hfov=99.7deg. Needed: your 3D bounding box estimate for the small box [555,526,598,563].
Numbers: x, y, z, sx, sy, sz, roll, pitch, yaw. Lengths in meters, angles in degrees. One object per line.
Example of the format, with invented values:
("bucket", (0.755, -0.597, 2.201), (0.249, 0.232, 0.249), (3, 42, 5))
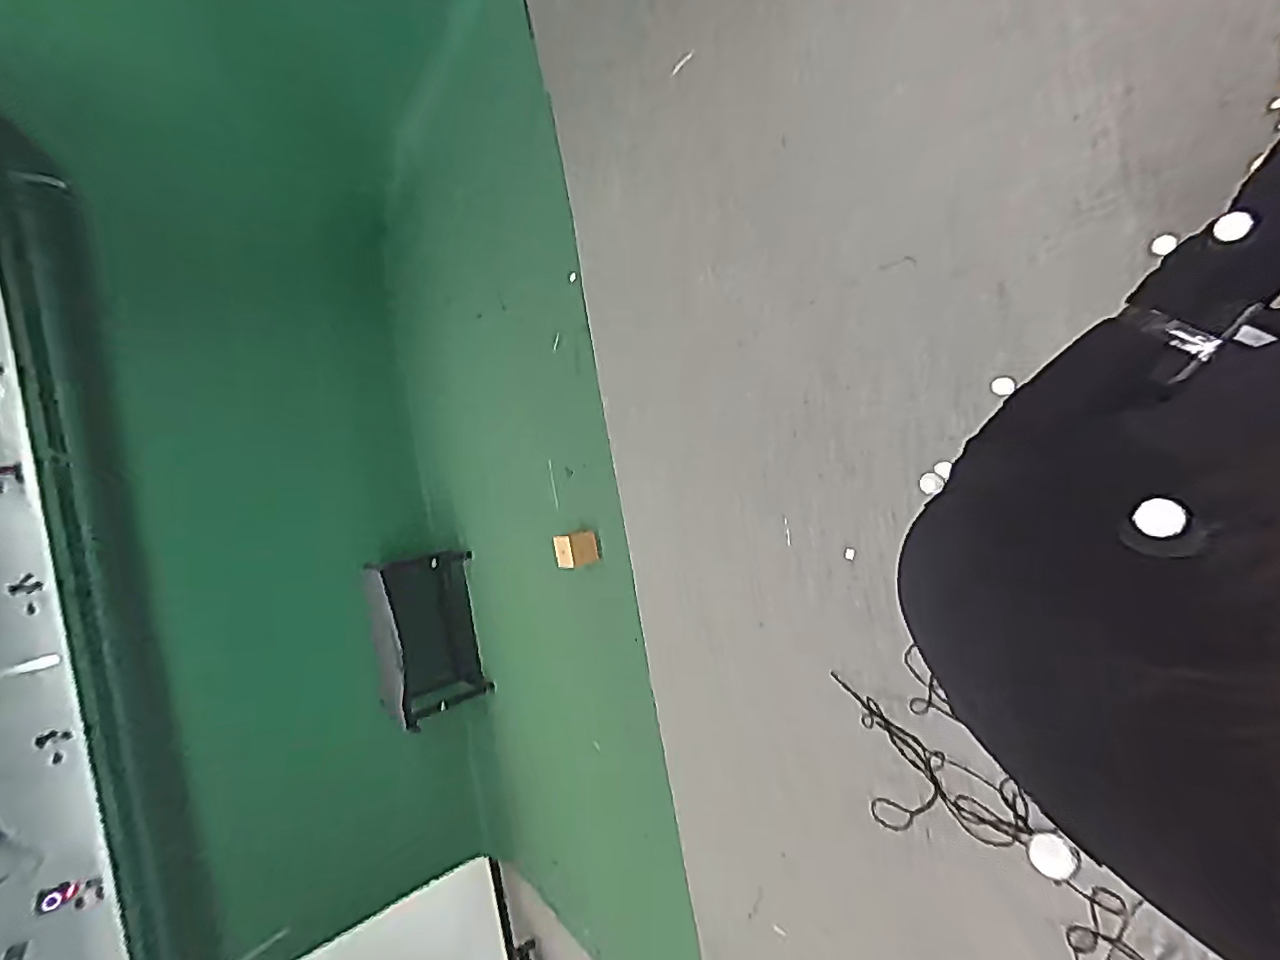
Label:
("small box", (-0.341, 0.353, 2.966), (0.179, 0.176, 0.168), (-9, 93, 54))
